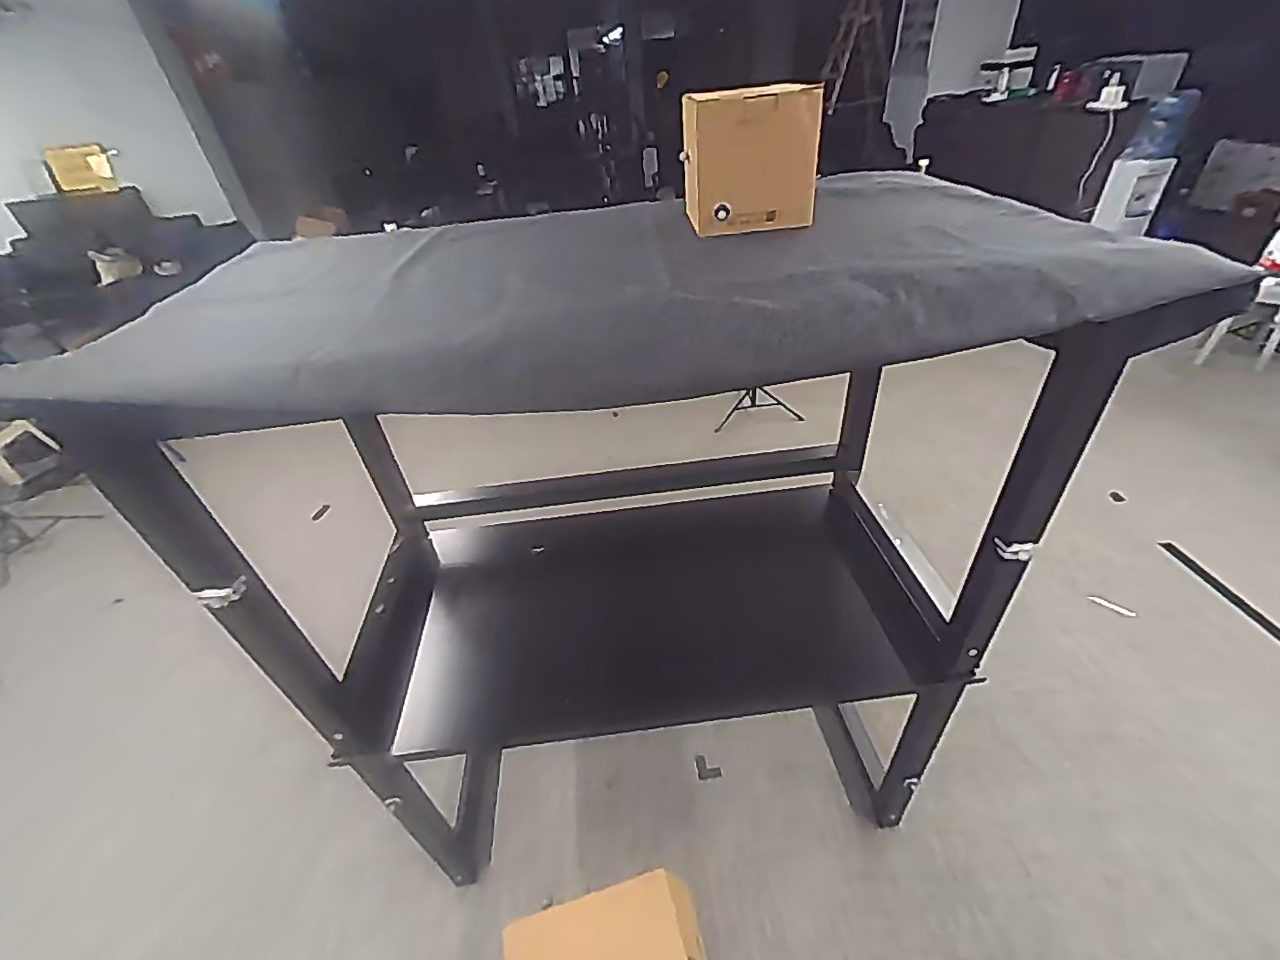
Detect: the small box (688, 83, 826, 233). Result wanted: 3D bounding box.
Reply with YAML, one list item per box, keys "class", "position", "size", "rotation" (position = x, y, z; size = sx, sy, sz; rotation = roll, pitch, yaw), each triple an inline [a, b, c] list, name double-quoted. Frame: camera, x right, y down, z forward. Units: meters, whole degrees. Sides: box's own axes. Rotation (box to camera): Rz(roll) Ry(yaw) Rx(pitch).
- class: "small box"
  position: [0.163, -0.474, 0.803]
  size: [0.168, 0.176, 0.179]
  rotation: [-5, 37, 1]

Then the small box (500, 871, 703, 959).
- class: "small box"
  position: [-0.022, 0.523, 0.550]
  size: [0.179, 0.176, 0.168]
  rotation: [-19, 50, -1]
